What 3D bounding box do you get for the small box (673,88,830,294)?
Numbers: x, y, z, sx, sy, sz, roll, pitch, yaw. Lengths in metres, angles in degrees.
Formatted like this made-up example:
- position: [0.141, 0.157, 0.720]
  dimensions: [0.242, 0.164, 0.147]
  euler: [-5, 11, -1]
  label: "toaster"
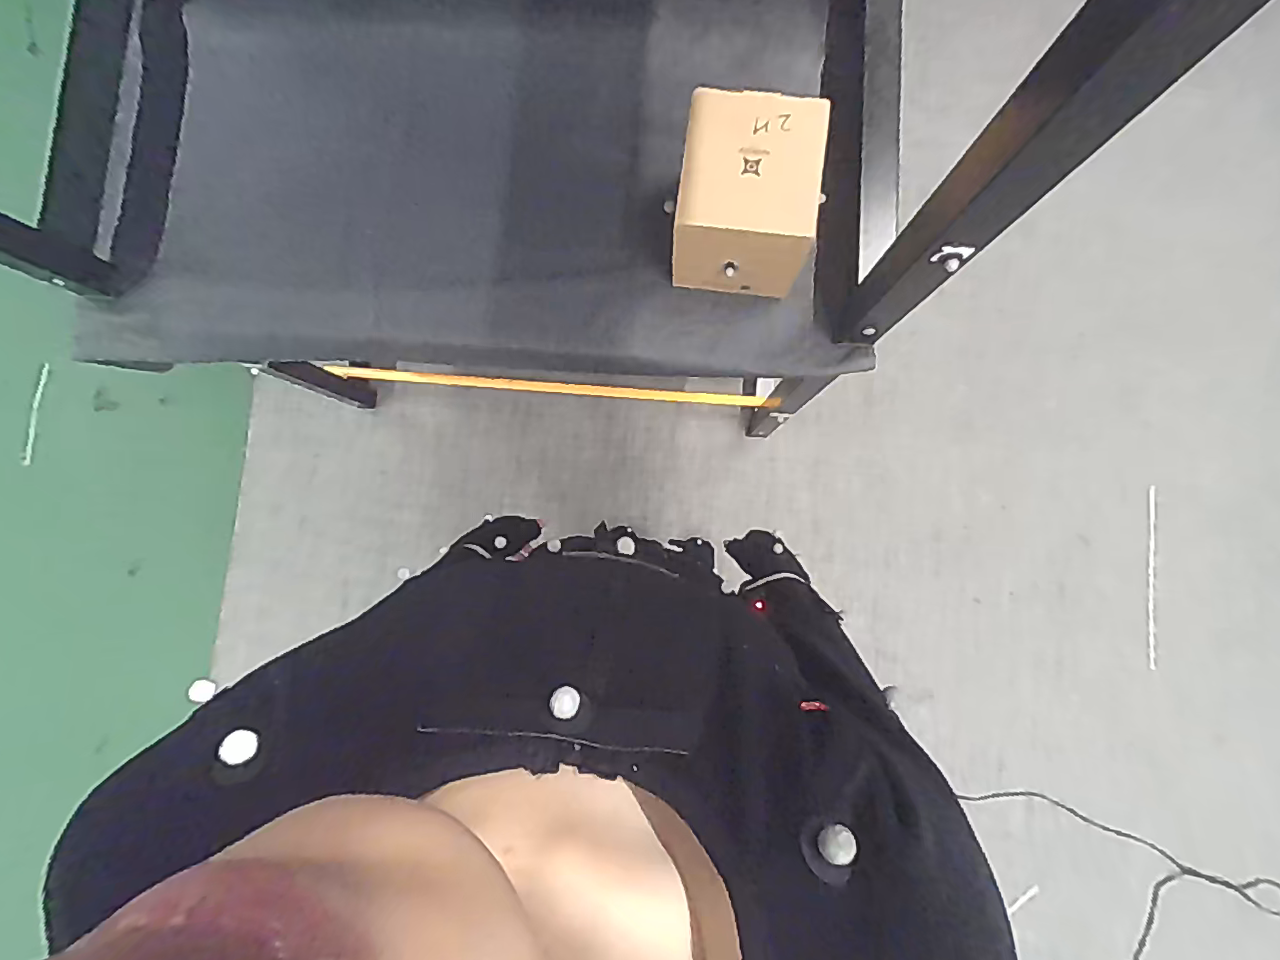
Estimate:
- position: [0.137, -0.368, 0.718]
  dimensions: [0.168, 0.176, 0.179]
  euler: [8, 85, 3]
  label: "small box"
